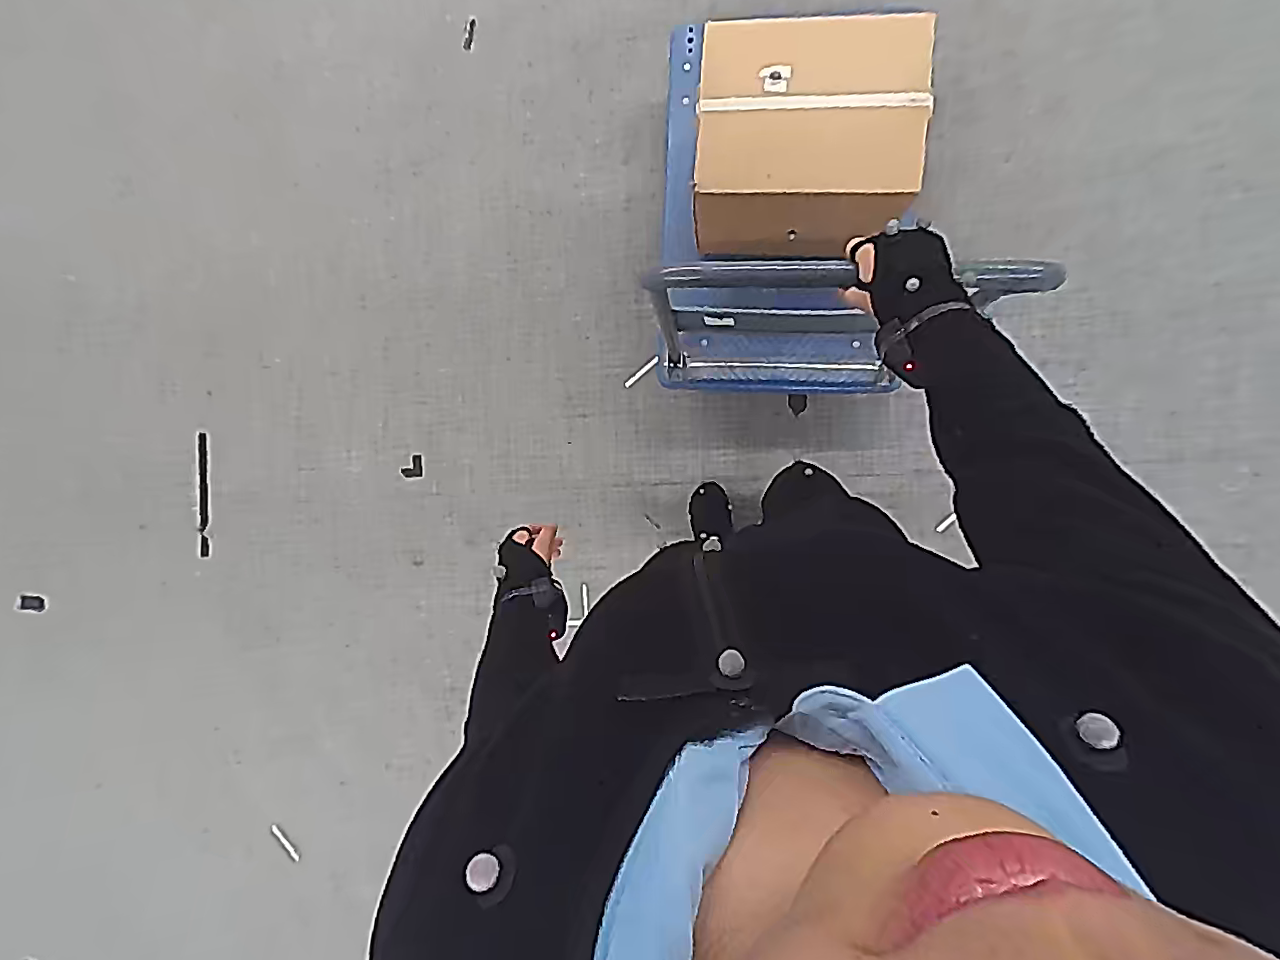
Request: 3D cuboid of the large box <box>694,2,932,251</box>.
[{"bbox_3d":[0.328,-0.683,1.110,0.408,0.320,0.320,4,91,9],"label":"large box"}]
